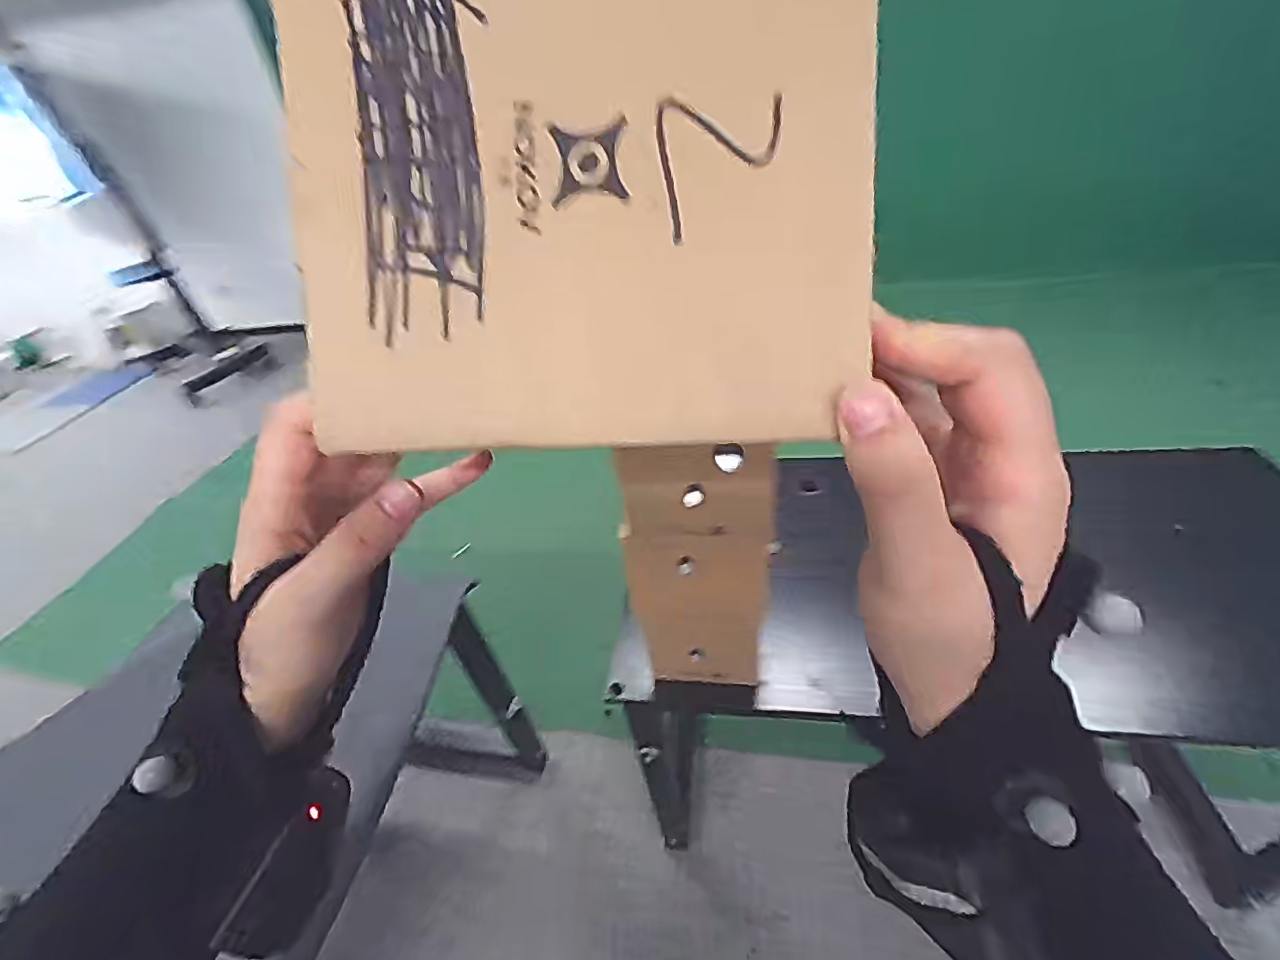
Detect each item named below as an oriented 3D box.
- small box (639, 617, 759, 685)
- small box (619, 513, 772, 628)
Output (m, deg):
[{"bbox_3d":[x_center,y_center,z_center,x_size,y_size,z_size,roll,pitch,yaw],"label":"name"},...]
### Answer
[{"bbox_3d":[0.100,0.197,0.842,0.168,0.176,0.179,0,39,11],"label":"small box"},{"bbox_3d":[0.082,0.082,0.727,0.179,0.176,0.168,-1,40,11],"label":"small box"}]
